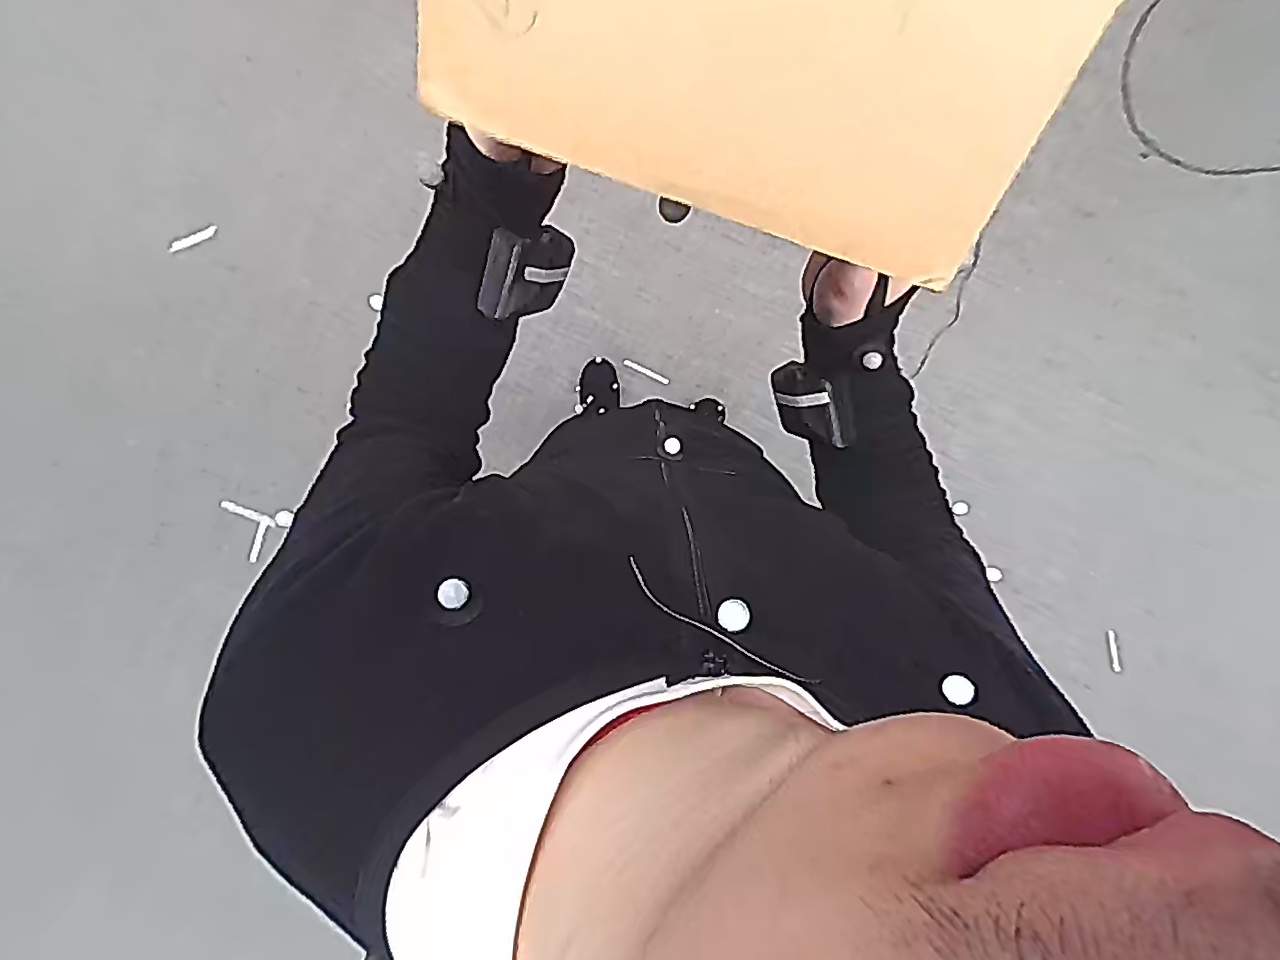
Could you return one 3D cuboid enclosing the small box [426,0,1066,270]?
[{"bbox_3d":[0.048,-0.201,0.193,0.179,0.176,0.168,20,129,4],"label":"small box"}]
